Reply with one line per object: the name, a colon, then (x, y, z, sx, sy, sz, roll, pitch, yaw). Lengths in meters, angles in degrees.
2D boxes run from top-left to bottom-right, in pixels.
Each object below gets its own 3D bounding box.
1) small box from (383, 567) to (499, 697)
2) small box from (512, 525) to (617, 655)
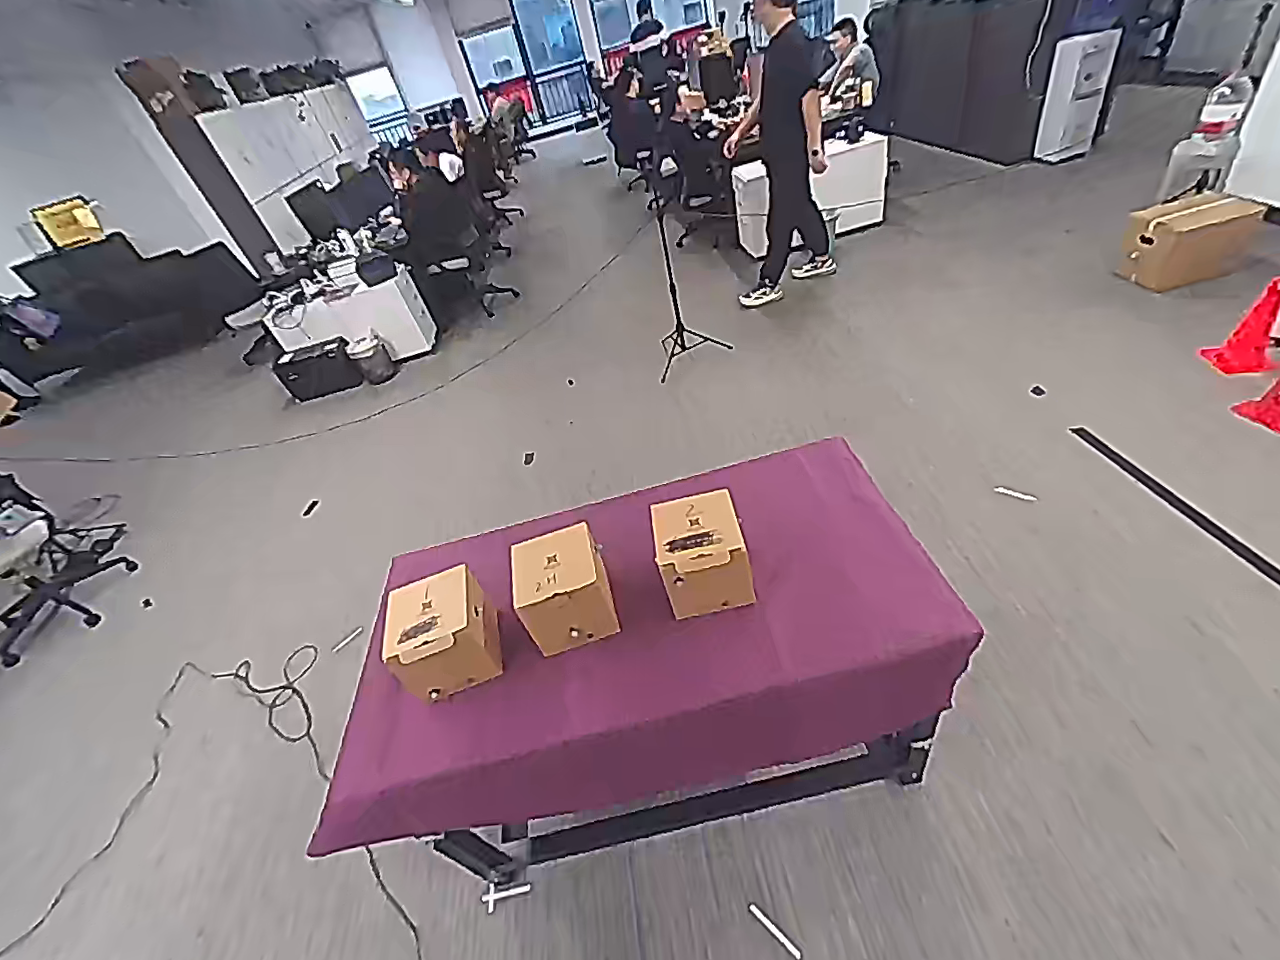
small box: (-0.398, 0.317, 1.105, 0.168, 0.176, 0.179, -21, 39, -5)
small box: (-0.157, 0.228, 1.121, 0.168, 0.176, 0.179, -19, 40, -1)
